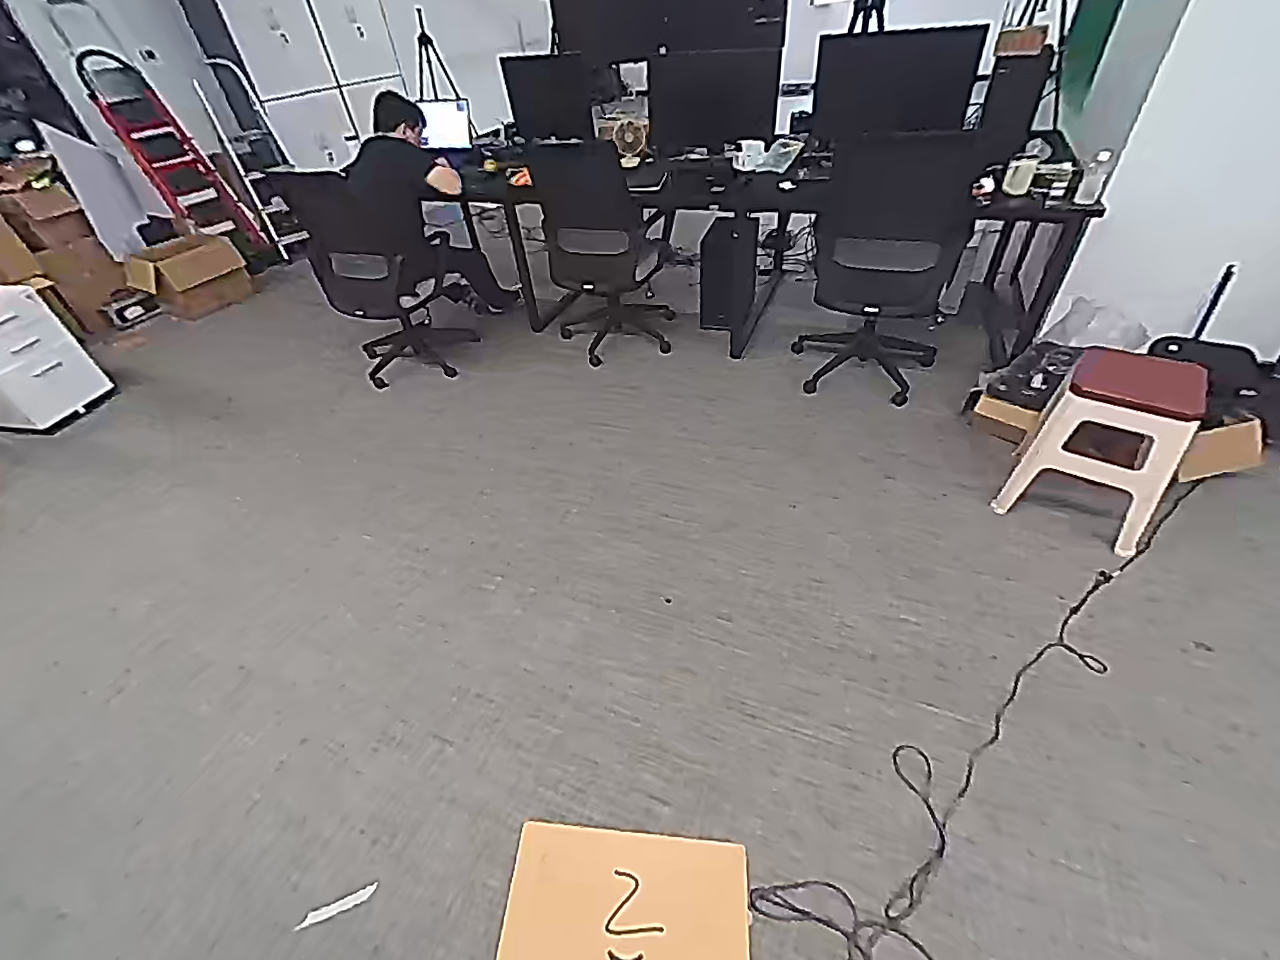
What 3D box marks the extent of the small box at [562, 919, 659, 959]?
[{"bbox_3d":[-0.060,0.915,0.938,0.168,0.176,0.179,11,44,19],"label":"small box"}]
